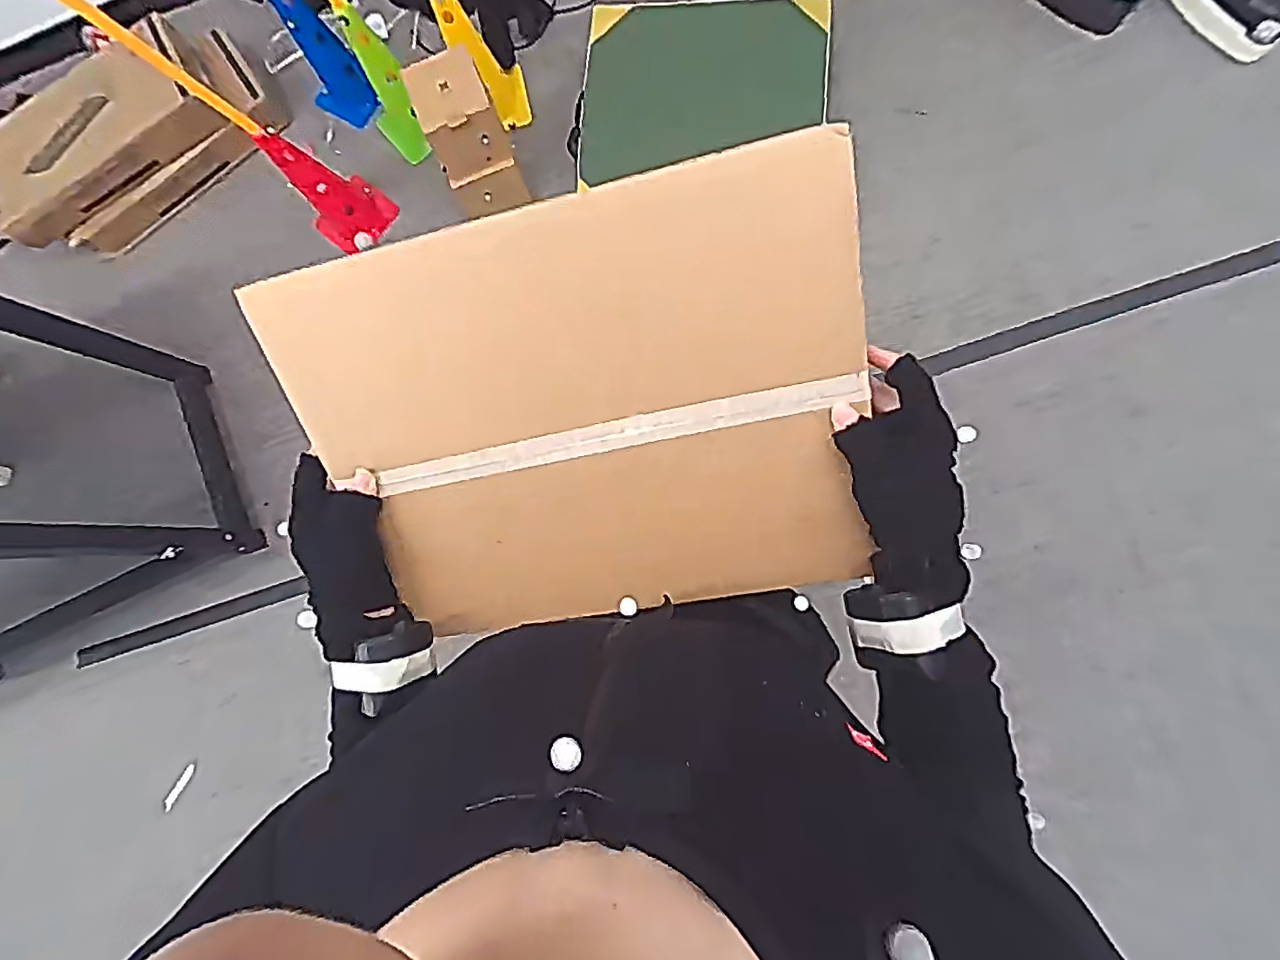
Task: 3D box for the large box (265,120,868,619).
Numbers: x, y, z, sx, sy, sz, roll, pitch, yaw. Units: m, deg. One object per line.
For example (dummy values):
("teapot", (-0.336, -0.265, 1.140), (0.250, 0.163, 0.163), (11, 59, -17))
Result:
("large box", (-0.033, -0.103, 0.542), (0.408, 0.320, 0.320), (-10, 116, 10))
